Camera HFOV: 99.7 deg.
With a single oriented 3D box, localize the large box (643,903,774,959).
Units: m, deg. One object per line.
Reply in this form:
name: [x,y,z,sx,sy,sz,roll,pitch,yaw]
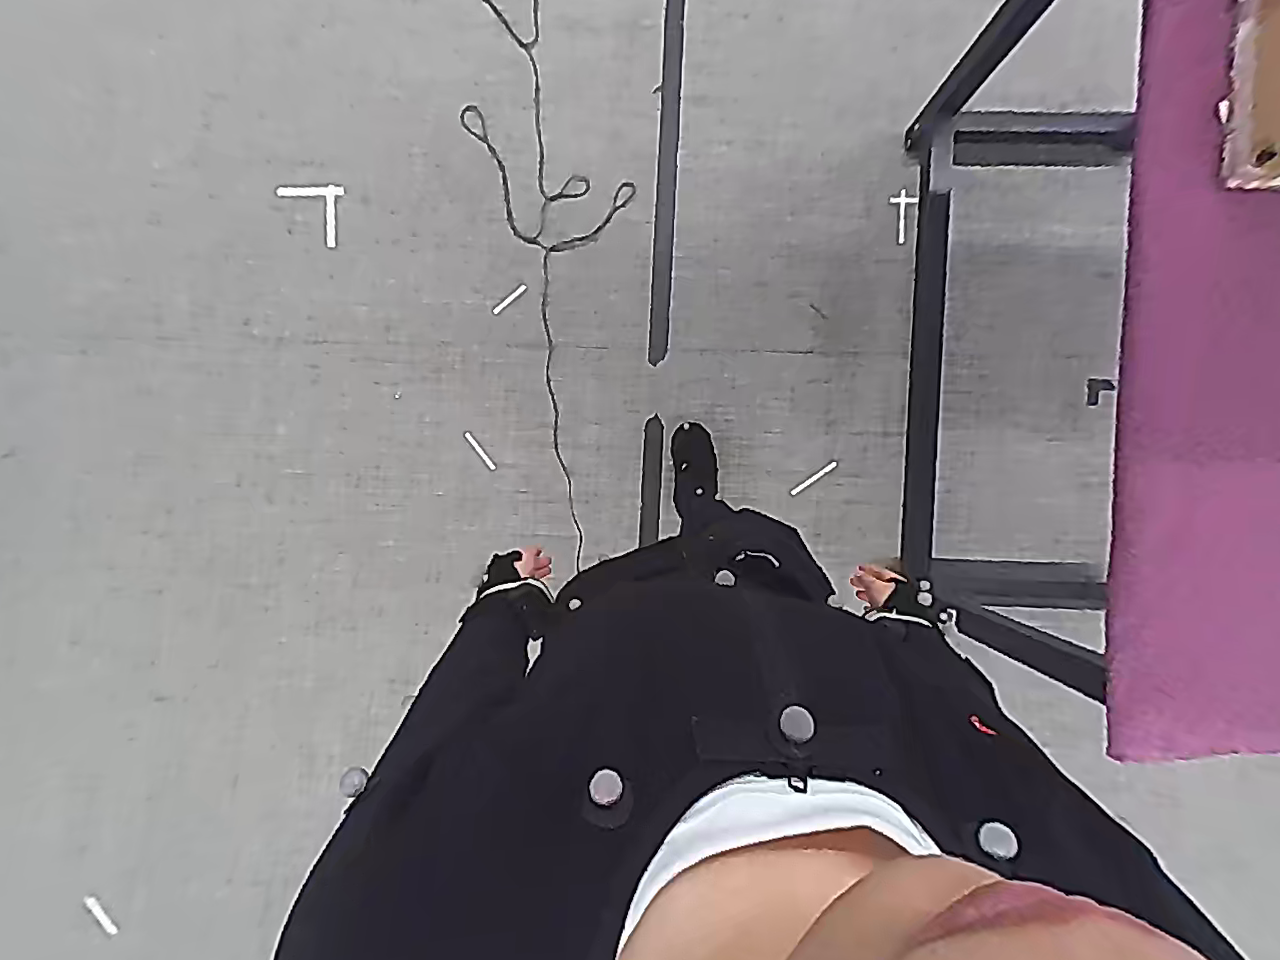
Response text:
large box: [0.159,1.297,1.250,0.320,0.320,0.408,1,90,0]
